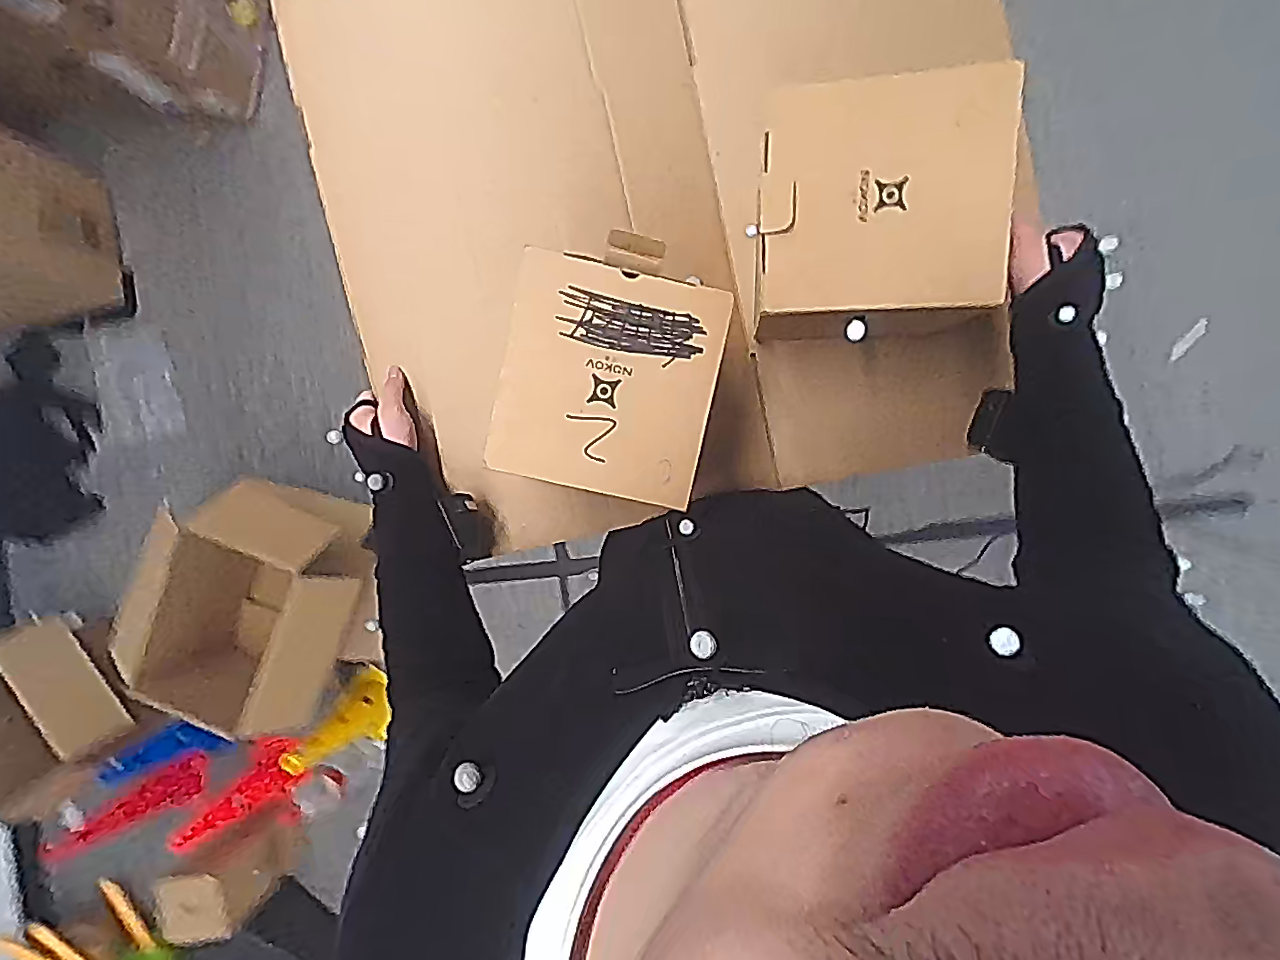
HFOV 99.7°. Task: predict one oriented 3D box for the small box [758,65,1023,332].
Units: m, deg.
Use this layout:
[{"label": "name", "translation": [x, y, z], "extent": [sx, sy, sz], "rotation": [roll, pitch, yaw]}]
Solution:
[{"label": "small box", "translation": [0.201, -0.229, 0.488], "extent": [0.179, 0.176, 0.168], "rotation": [2, 98, 11]}]
